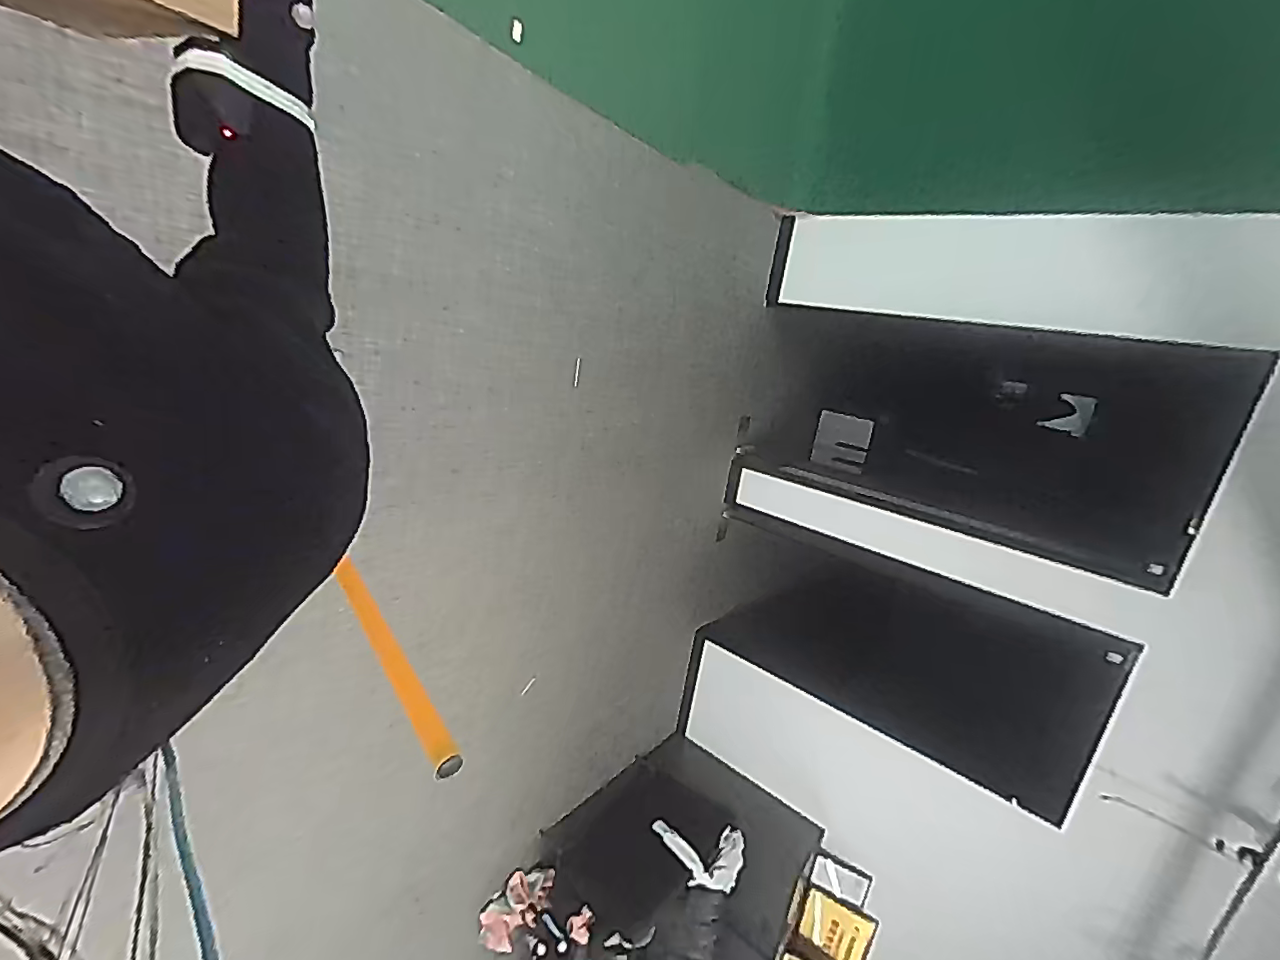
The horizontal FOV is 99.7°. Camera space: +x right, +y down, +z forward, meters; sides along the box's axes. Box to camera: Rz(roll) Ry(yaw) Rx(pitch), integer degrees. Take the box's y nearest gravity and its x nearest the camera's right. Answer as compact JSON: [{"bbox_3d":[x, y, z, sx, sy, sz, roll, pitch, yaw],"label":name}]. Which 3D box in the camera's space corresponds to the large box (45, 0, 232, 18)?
[{"bbox_3d":[-0.499,-0.496,0.259,0.408,0.320,0.320,-18,127,-53],"label":"large box"}]
